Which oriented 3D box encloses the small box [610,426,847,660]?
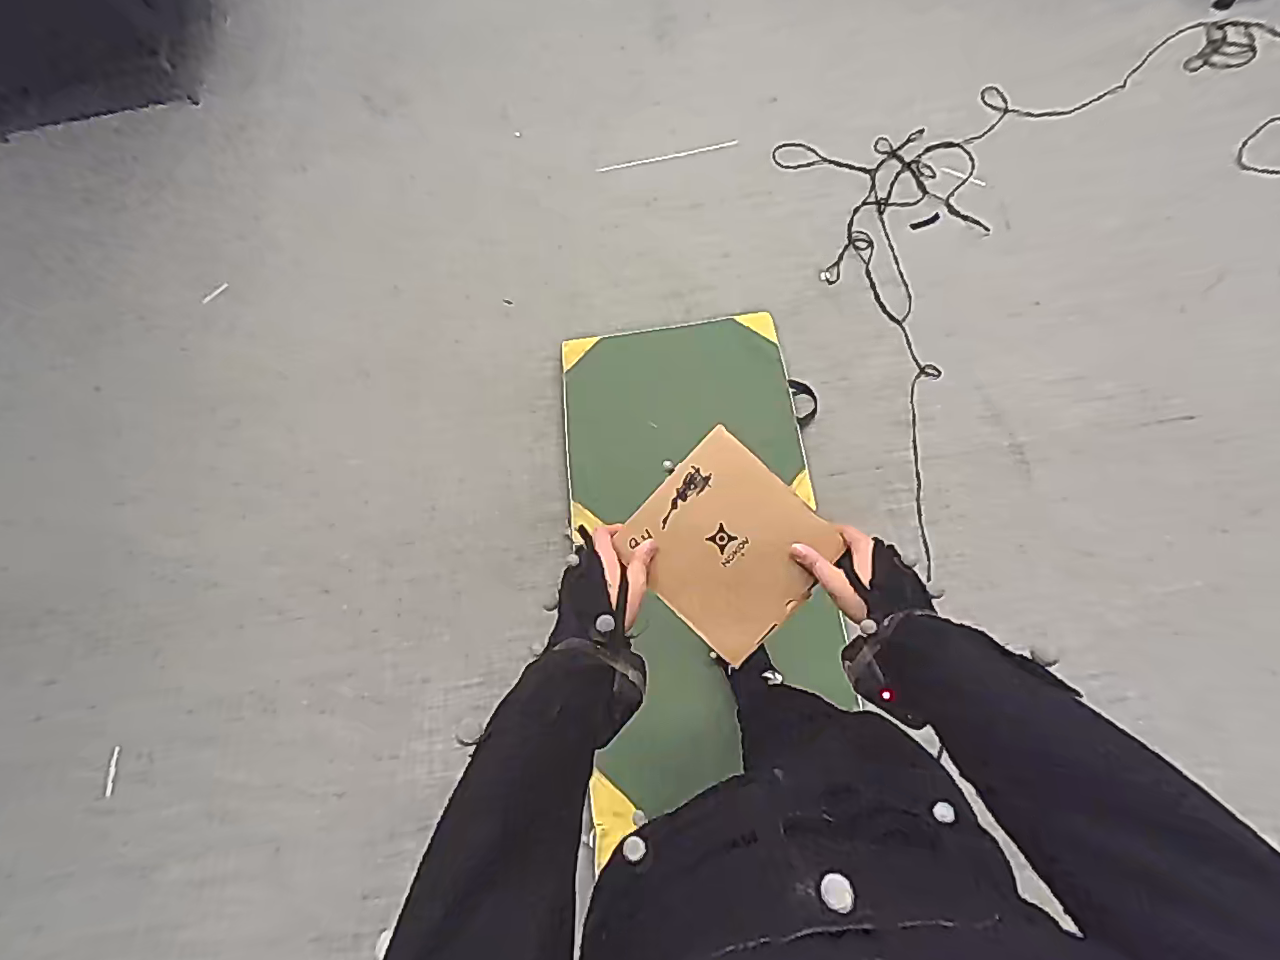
[{"bbox_3d":[0.089,0.063,0.609,0.179,0.176,0.168,43,89,4],"label":"small box"}]
